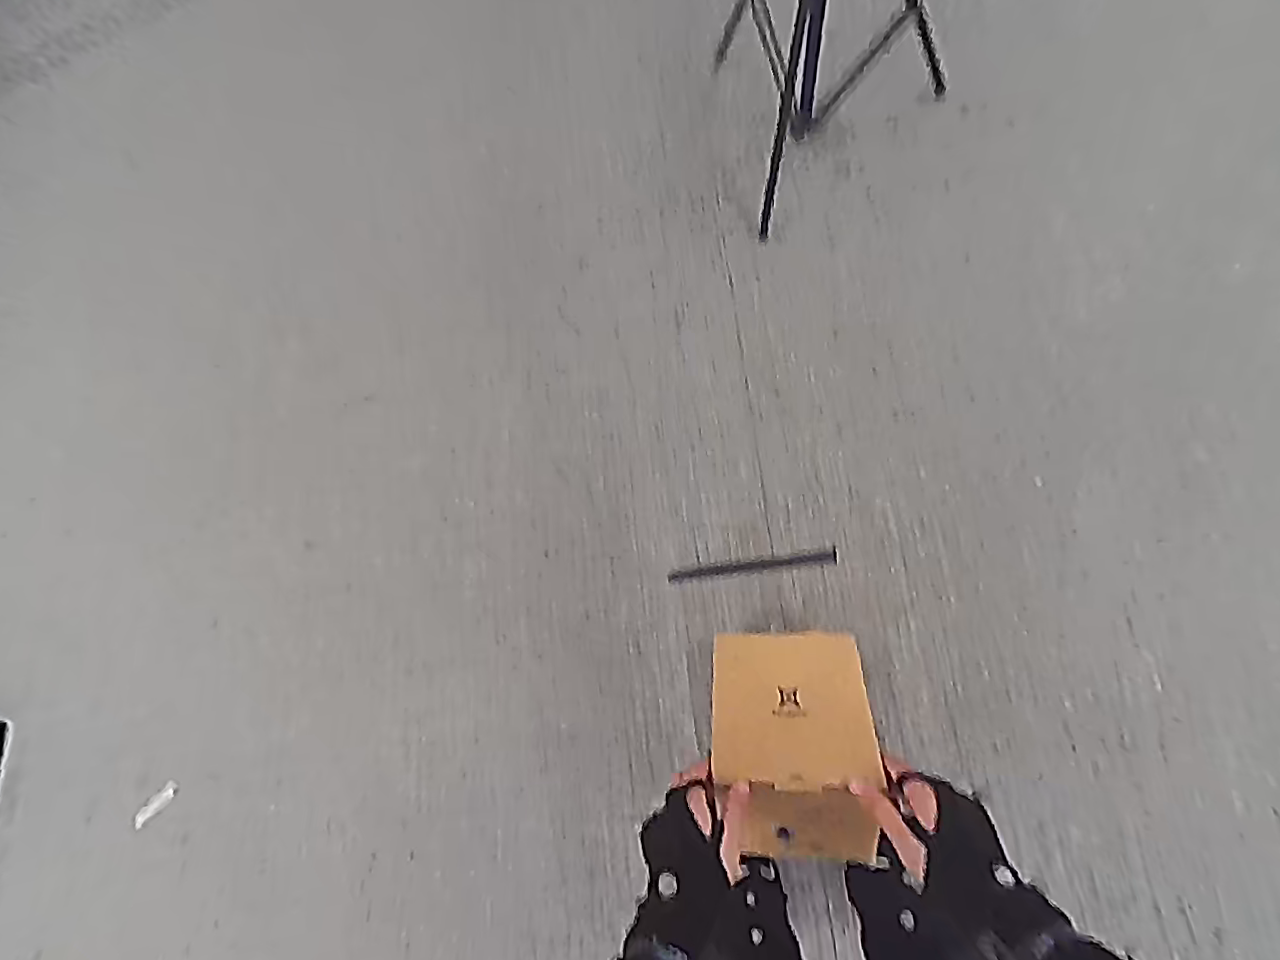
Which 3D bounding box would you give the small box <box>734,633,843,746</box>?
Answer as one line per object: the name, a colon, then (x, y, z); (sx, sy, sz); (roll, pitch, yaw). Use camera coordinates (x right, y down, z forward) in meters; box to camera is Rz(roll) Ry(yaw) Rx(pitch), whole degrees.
small box: (0.277, 0.393, 1.035); (0.168, 0.176, 0.179); (-9, 73, 8)
